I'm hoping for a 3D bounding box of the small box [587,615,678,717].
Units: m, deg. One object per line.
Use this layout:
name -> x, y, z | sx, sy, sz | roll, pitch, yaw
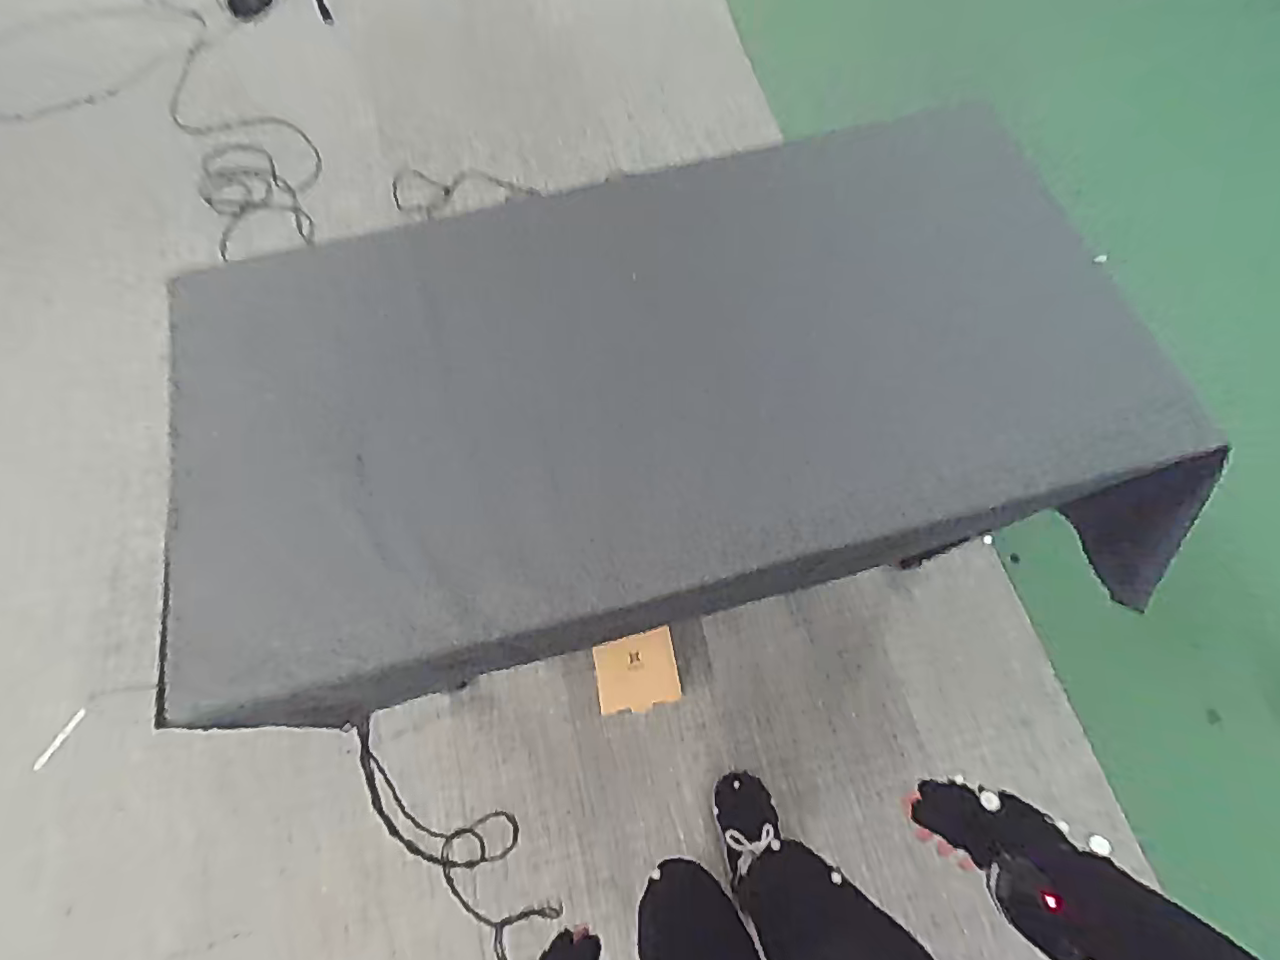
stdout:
small box -> -0.013, 0.397, 1.159 | 0.168, 0.176, 0.179 | -10, 69, -2
